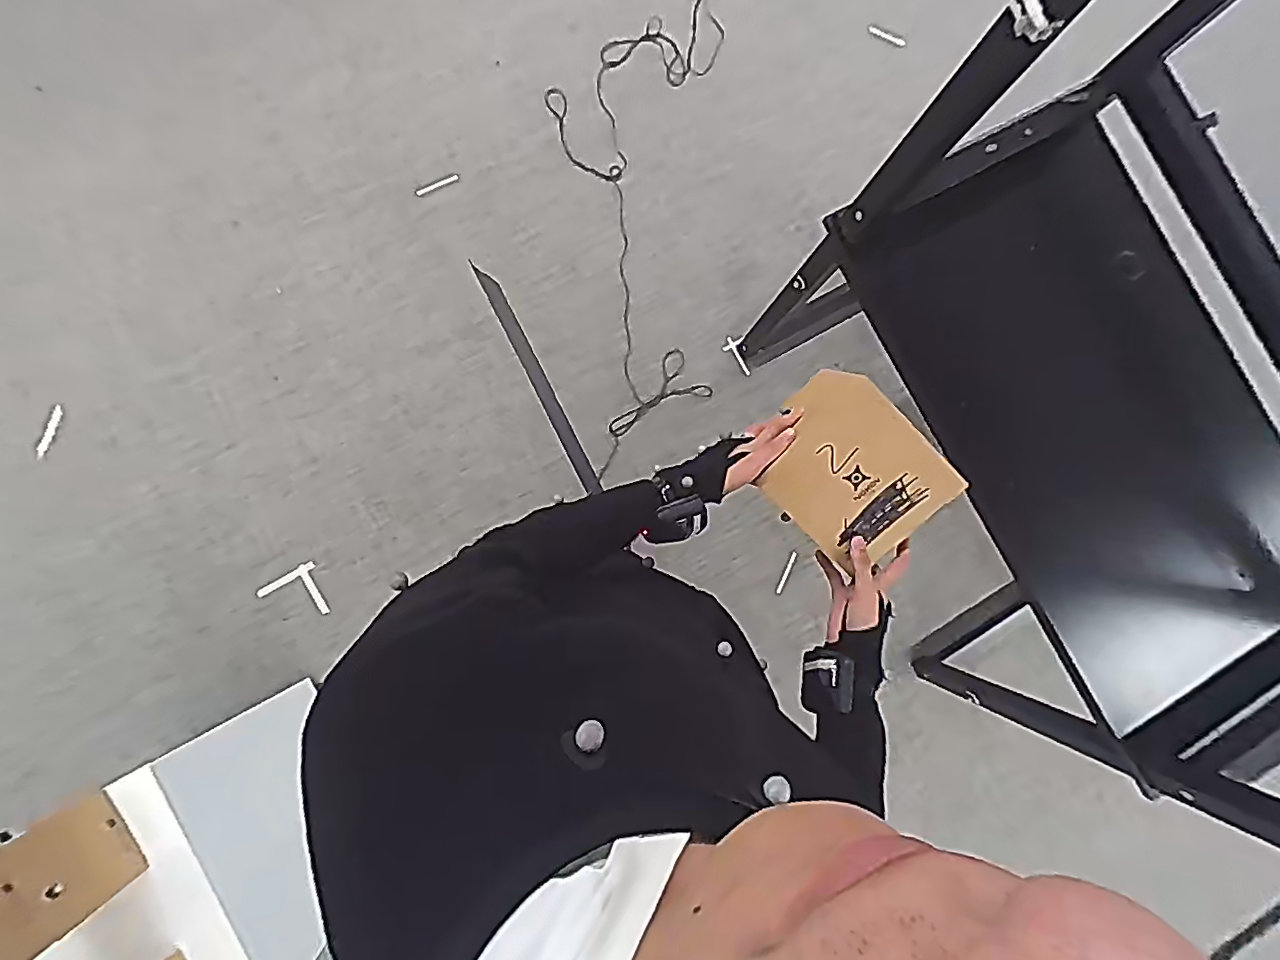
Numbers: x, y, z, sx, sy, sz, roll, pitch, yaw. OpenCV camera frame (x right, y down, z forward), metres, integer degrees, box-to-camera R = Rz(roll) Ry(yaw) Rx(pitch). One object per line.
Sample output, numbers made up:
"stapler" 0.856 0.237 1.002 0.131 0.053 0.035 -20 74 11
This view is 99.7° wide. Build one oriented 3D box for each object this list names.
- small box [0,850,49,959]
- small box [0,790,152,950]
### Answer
"small box" -0.952 0.641 0.707 0.179 0.176 0.168 -30 90 -6
"small box" -0.965 0.651 0.871 0.179 0.176 0.168 -31 90 -6
